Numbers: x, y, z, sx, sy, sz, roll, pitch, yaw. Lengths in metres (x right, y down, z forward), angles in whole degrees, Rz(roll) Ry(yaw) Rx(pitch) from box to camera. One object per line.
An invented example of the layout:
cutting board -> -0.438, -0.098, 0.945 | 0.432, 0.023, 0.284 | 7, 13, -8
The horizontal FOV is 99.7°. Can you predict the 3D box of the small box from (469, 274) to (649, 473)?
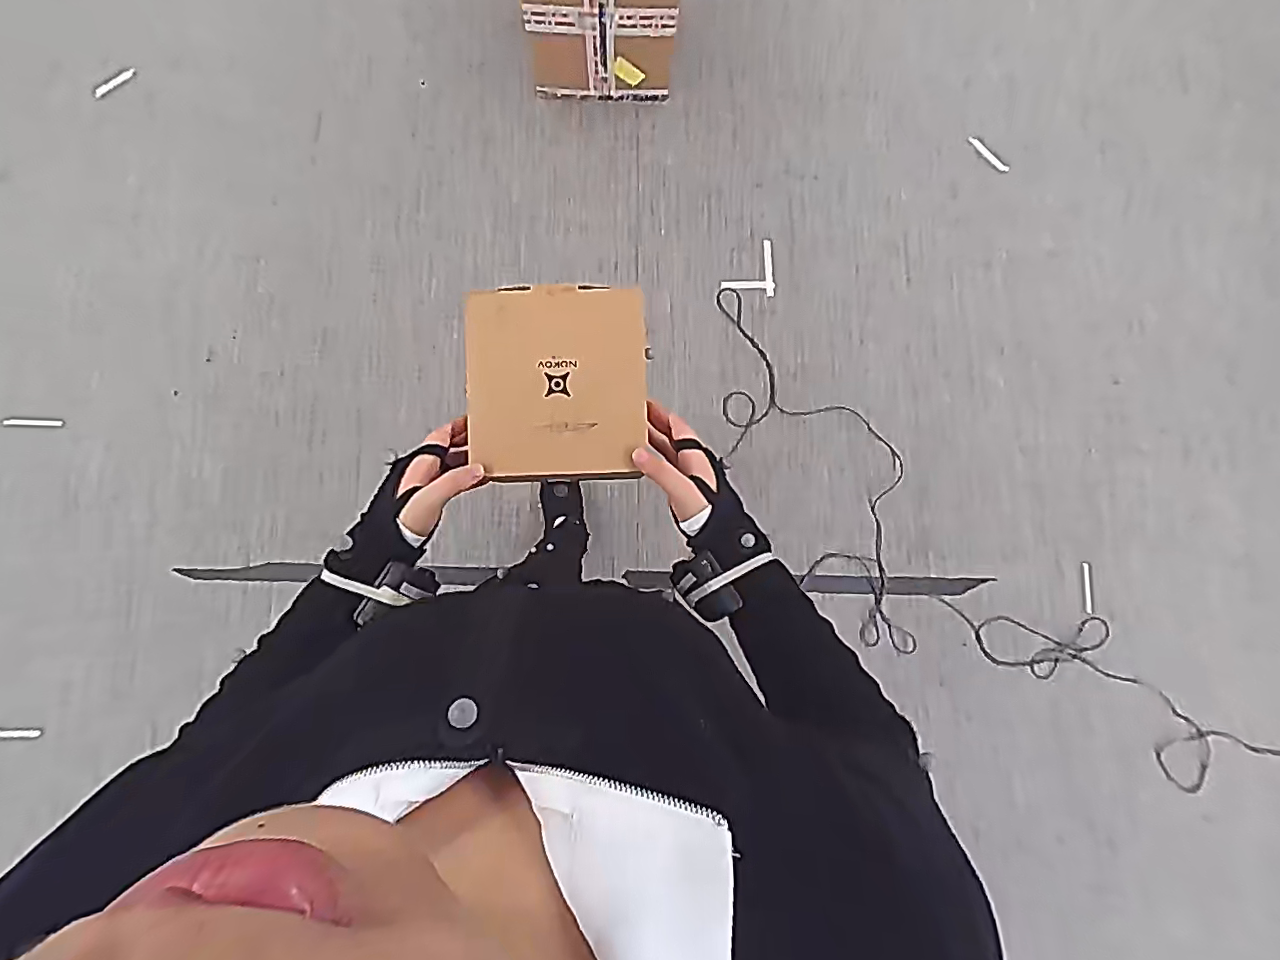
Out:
small box -> -0.079, -0.101, 0.577 | 0.168, 0.176, 0.179 | -2, 89, -3
